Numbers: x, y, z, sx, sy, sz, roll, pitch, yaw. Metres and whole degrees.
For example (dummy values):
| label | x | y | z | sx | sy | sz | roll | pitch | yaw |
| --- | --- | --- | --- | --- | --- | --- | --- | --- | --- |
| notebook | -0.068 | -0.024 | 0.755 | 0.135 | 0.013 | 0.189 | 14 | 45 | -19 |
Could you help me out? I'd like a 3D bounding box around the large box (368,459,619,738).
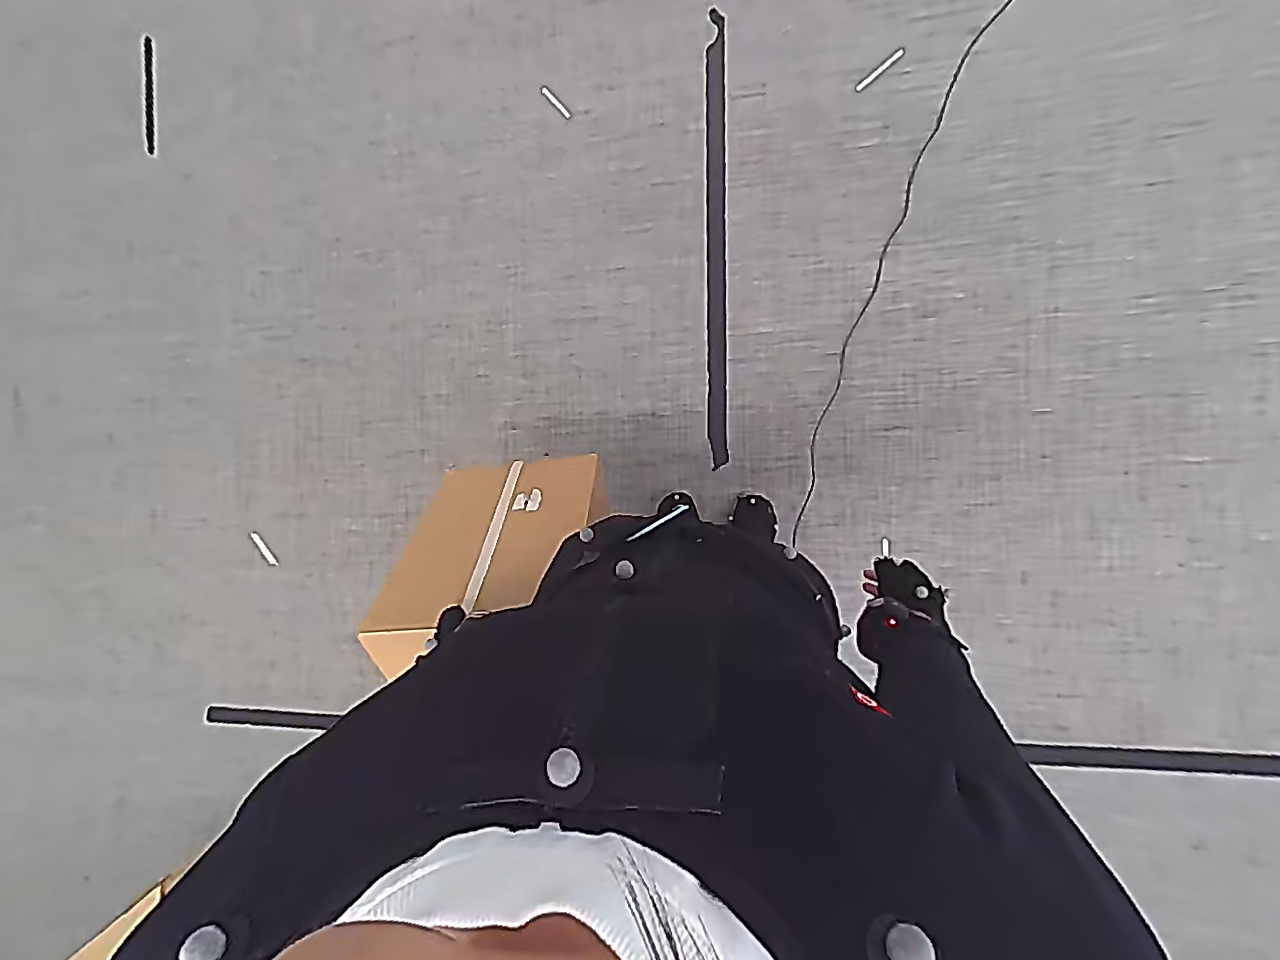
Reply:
| label | x | y | z | sx | sy | sz | roll | pitch | yaw |
| --- | --- | --- | --- | --- | --- | --- | --- | --- | --- |
| large box | -0.223 | 0.208 | 1.013 | 0.320 | 0.408 | 0.320 | -4 | 126 | 6 |
